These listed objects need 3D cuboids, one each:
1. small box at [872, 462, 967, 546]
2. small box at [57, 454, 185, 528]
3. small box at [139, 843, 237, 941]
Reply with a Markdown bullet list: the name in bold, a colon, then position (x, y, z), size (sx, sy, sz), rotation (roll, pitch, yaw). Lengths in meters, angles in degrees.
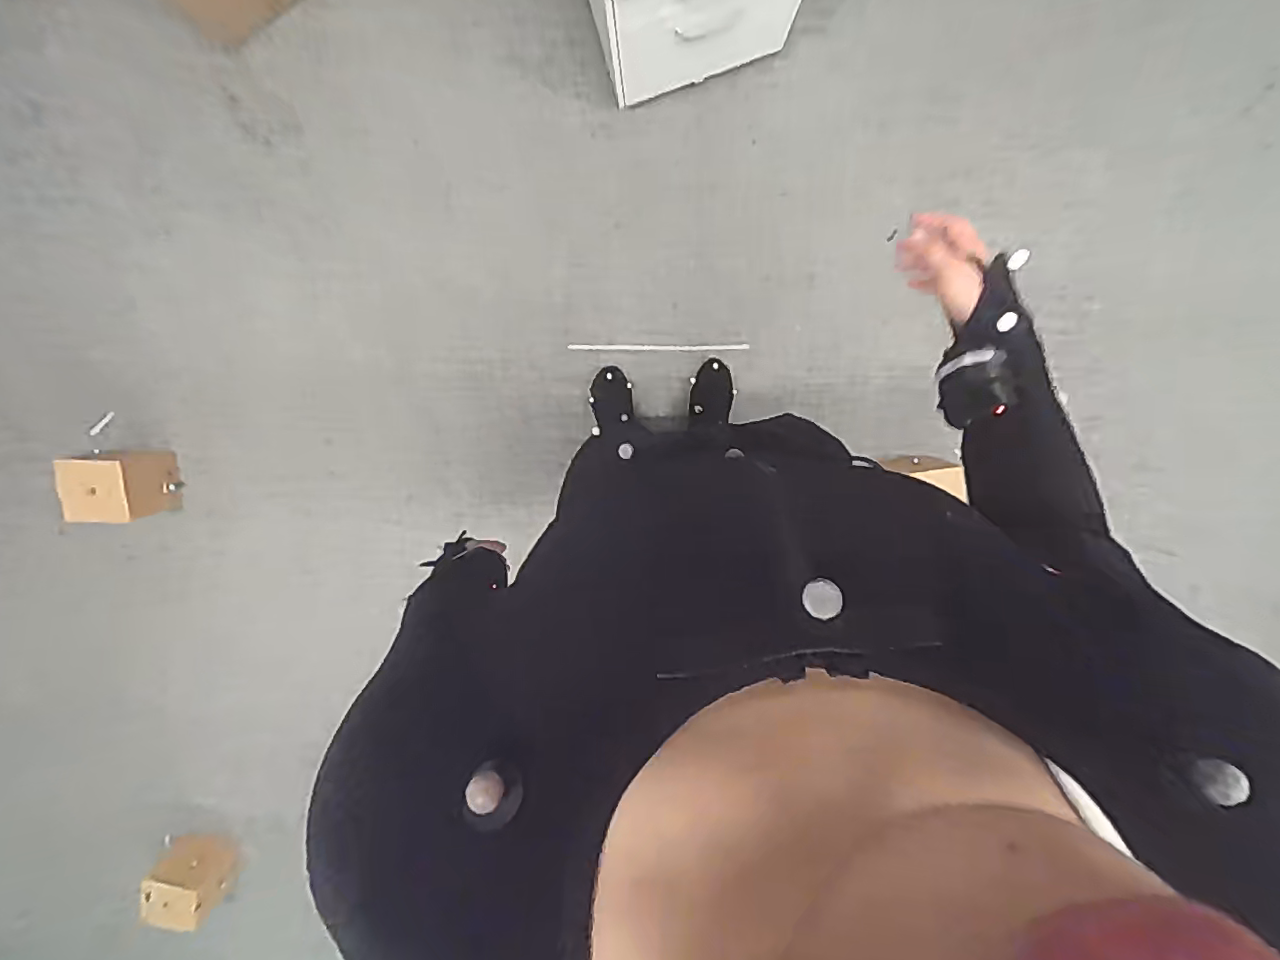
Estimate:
- **small box**: position (0.716, 0.054, 1.398), size (0.168, 0.176, 0.179), rotation (-8, 101, 3)
- **small box**: position (-1.393, 0.026, 1.462), size (0.179, 0.176, 0.168), rotation (1, 102, 0)
- **small box**: position (-1.412, 1.287, 1.699), size (0.179, 0.176, 0.168), rotation (13, 101, -1)
